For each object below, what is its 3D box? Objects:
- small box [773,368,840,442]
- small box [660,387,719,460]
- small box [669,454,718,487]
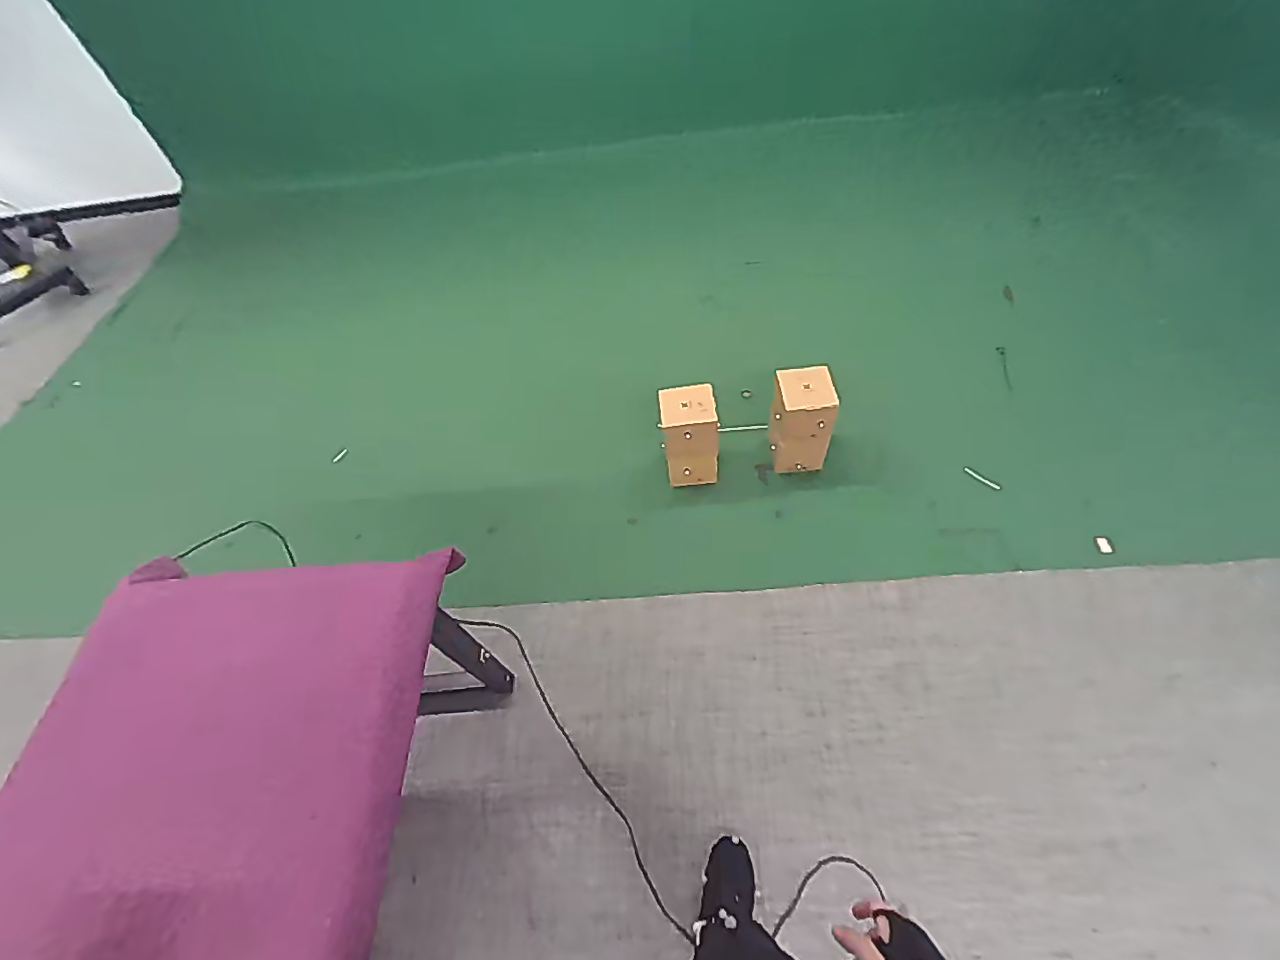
[{"bbox_3d":[0.536,-0.235,1.757,0.168,0.176,0.179,-5,55,3],"label":"small box"},{"bbox_3d":[0.163,-0.179,1.770,0.179,0.176,0.168,-6,54,4],"label":"small box"},{"bbox_3d":[0.185,-0.088,1.905,0.168,0.176,0.179,-6,53,4],"label":"small box"}]
